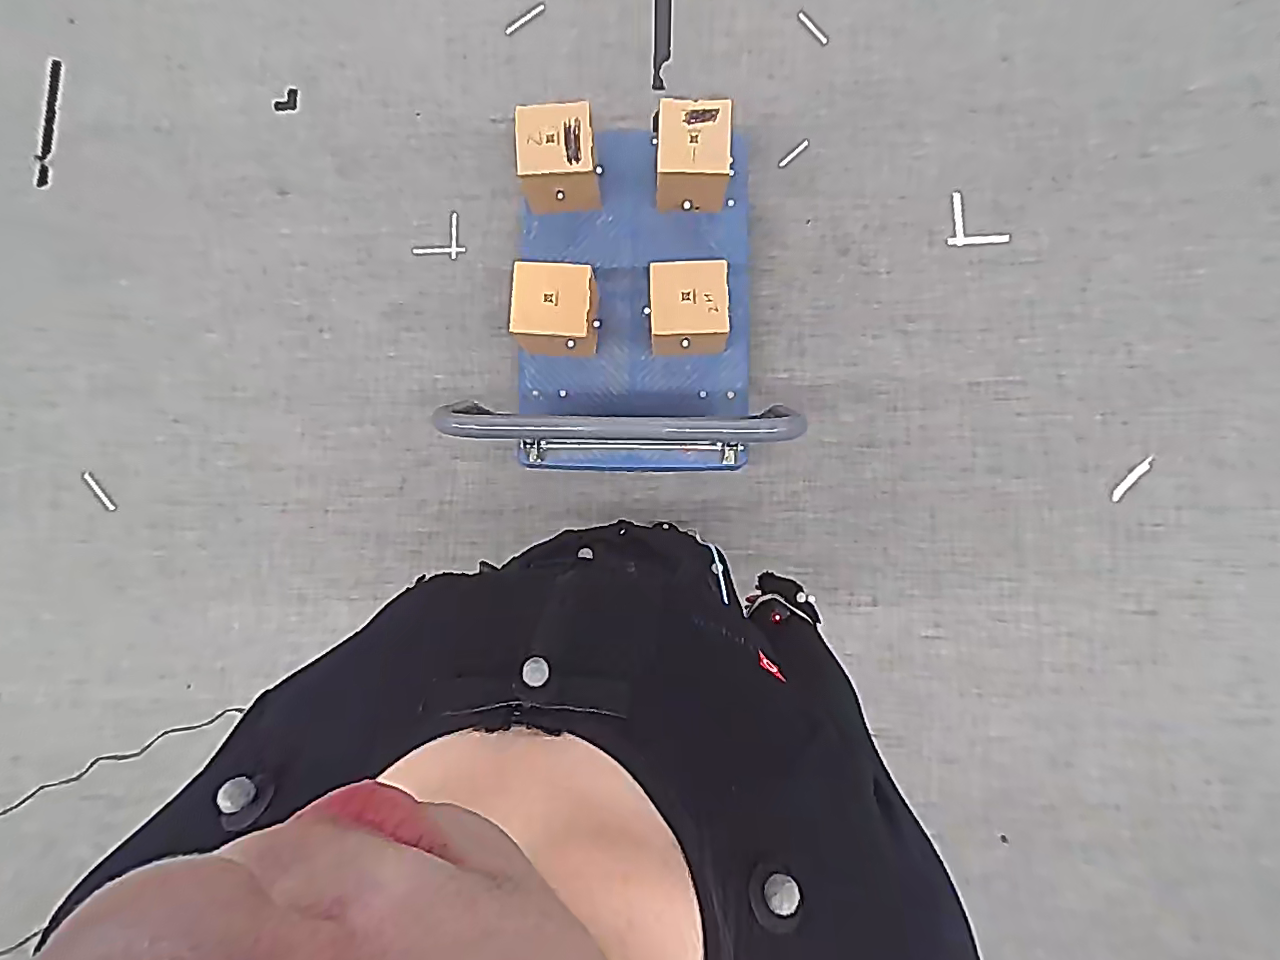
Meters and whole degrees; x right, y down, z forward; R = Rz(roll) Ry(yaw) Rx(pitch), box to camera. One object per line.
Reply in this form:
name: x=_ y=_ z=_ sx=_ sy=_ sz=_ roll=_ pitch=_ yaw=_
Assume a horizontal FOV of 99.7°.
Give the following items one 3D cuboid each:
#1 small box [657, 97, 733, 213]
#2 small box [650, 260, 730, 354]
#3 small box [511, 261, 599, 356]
small box: x=0.127 y=-0.775 z=1.300 sx=0.168 sy=0.176 sz=0.179 roll=2 pitch=88 yaw=1
small box: x=0.114 y=-0.401 z=1.277 sx=0.179 sy=0.176 sz=0.168 roll=-2 pitch=87 yaw=1
small box: x=-0.195 y=-0.401 z=1.285 sx=0.179 sy=0.176 sz=0.168 roll=3 pitch=86 yaw=0
